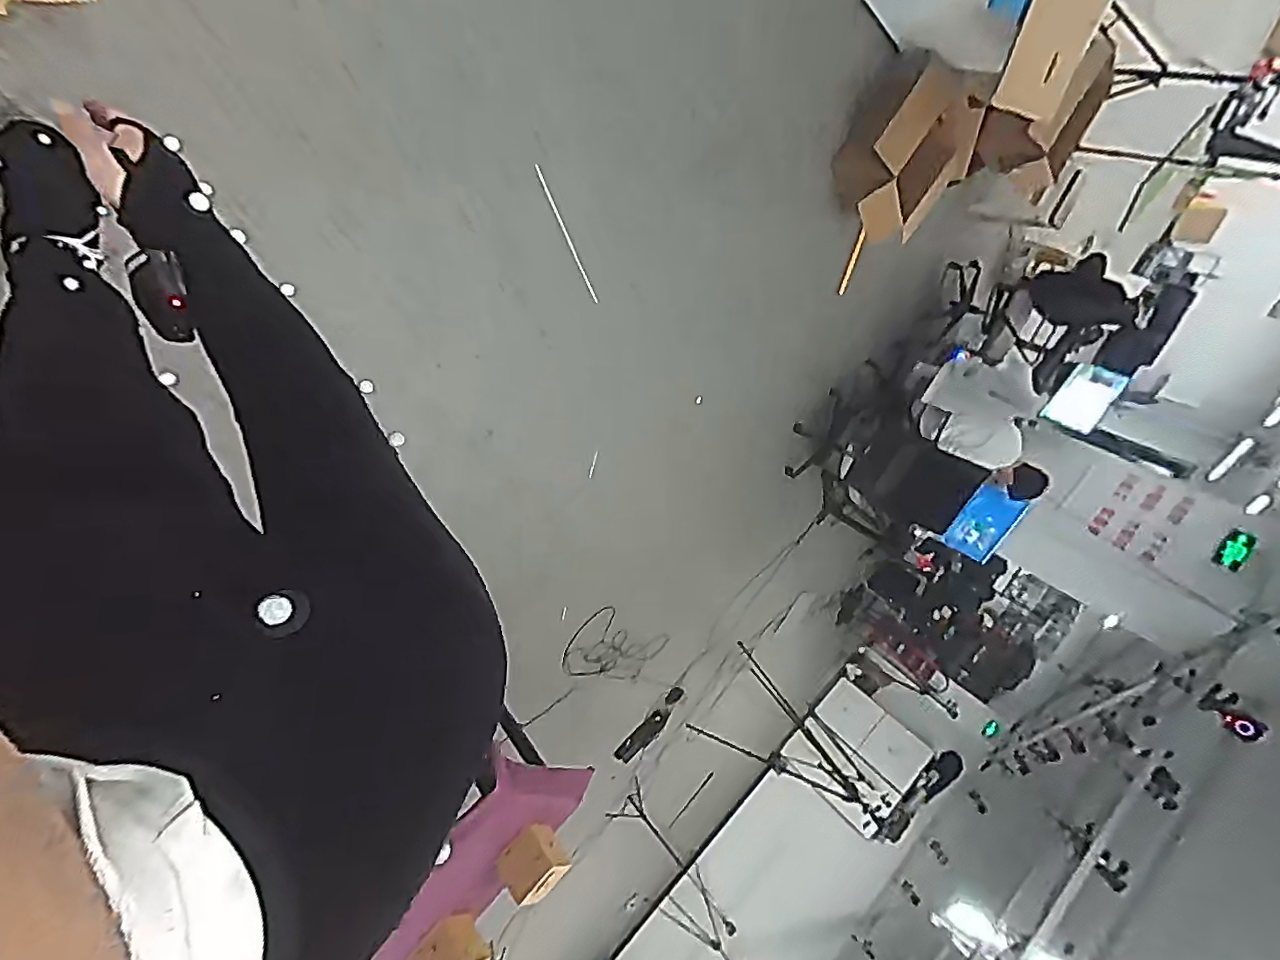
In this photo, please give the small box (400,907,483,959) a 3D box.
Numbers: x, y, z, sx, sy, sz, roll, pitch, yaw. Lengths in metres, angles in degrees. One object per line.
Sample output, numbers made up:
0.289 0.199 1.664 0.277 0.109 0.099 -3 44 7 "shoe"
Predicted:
-0.680 1.609 1.853 0.168 0.176 0.179 -44 144 -12 "small box"
